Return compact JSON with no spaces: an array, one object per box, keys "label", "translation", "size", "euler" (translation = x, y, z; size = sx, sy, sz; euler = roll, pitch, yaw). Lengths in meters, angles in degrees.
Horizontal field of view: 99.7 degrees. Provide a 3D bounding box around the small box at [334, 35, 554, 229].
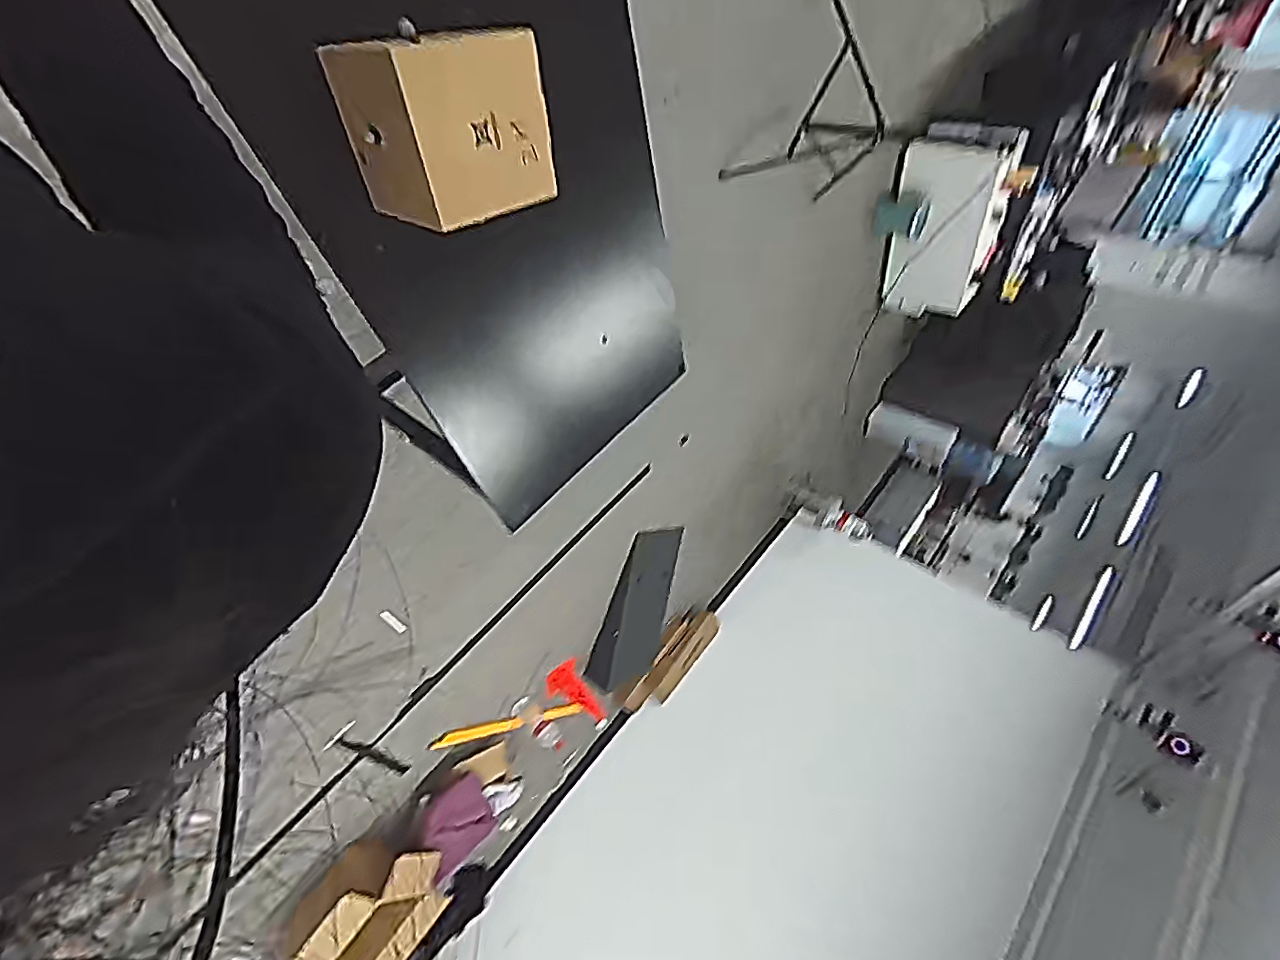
[{"label":"small box","translation":[-0.233,-0.420,0.649],"size":[0.179,0.176,0.168],"euler":[-38,142,-32]}]
